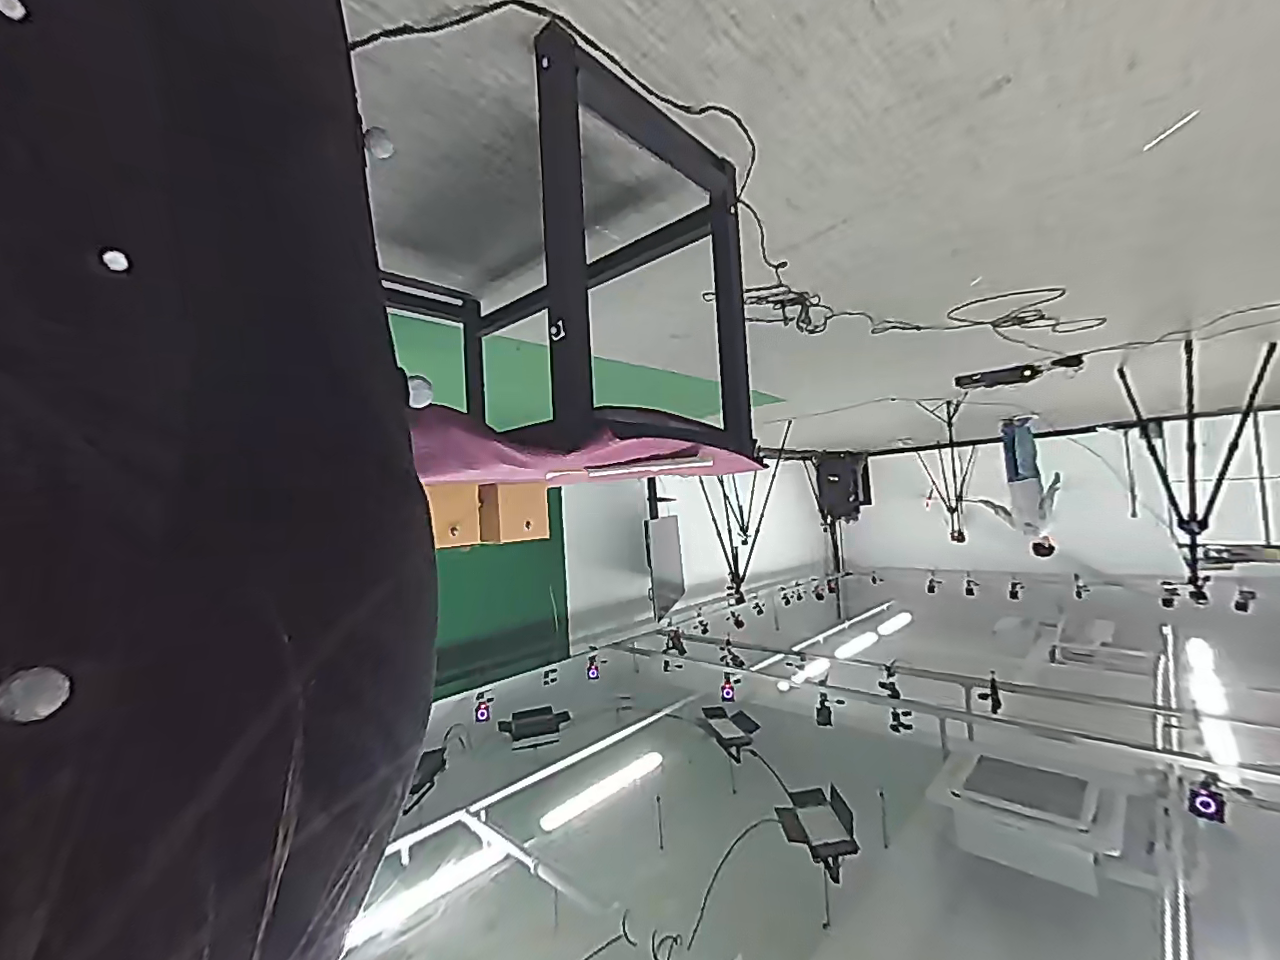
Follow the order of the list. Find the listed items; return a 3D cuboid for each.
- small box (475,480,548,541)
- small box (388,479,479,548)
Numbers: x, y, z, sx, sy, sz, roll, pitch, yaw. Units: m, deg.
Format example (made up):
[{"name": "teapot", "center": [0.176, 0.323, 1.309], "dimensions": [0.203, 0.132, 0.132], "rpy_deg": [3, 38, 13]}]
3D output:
[{"name": "small box", "center": [-0.394, 0.087, 1.603], "dimensions": [0.168, 0.176, 0.179], "rpy_deg": [-6, 176, 40]}, {"name": "small box", "center": [-0.555, 0.089, 1.446], "dimensions": [0.168, 0.176, 0.179], "rpy_deg": [-6, 176, 38]}]
